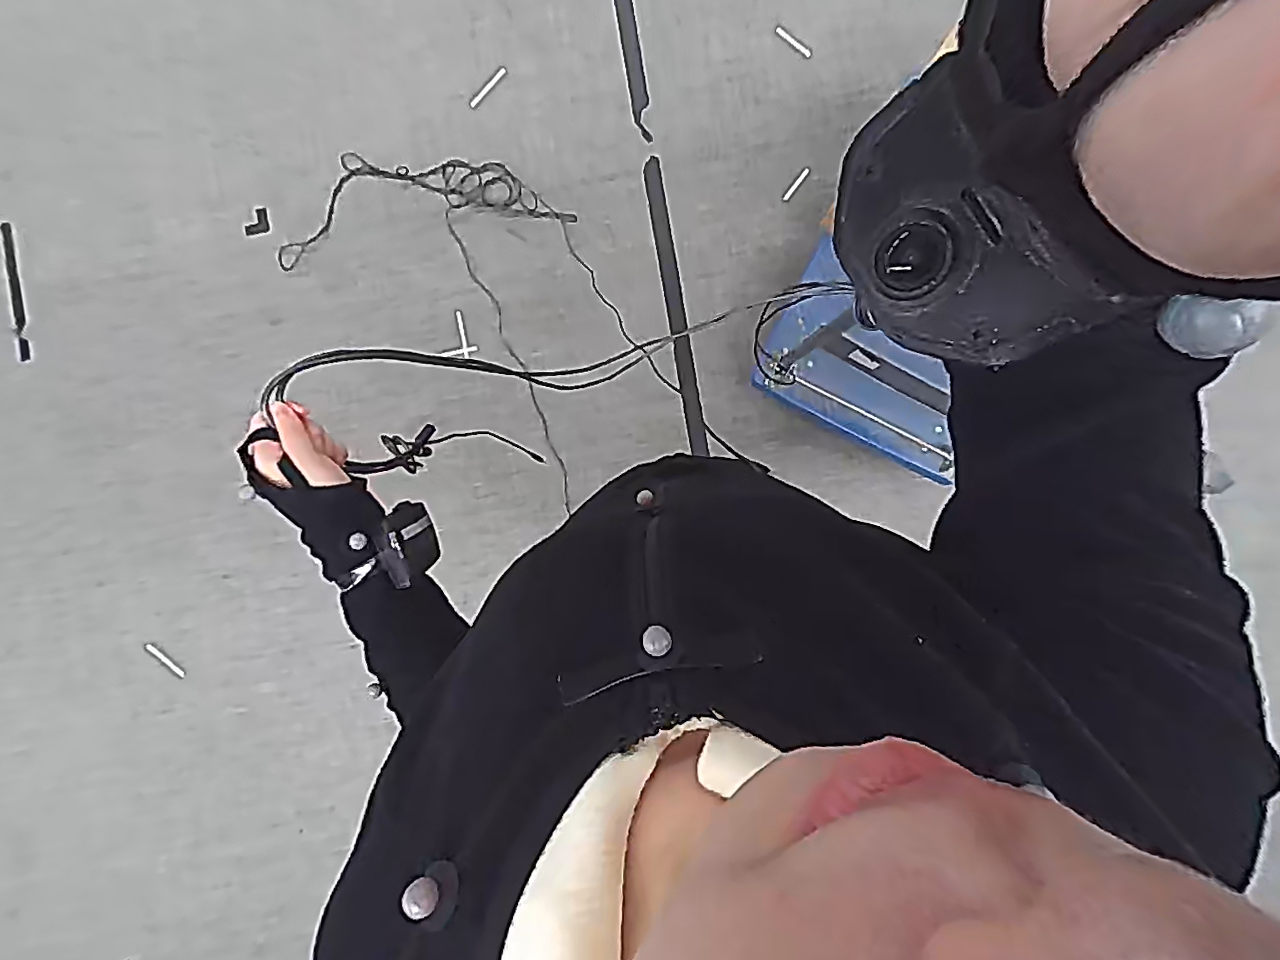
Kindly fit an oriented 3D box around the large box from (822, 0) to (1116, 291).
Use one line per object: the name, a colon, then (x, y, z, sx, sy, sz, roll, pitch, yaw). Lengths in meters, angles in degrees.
large box: (0.666, -0.699, 1.165, 0.320, 0.320, 0.408, 33, 90, -1)
